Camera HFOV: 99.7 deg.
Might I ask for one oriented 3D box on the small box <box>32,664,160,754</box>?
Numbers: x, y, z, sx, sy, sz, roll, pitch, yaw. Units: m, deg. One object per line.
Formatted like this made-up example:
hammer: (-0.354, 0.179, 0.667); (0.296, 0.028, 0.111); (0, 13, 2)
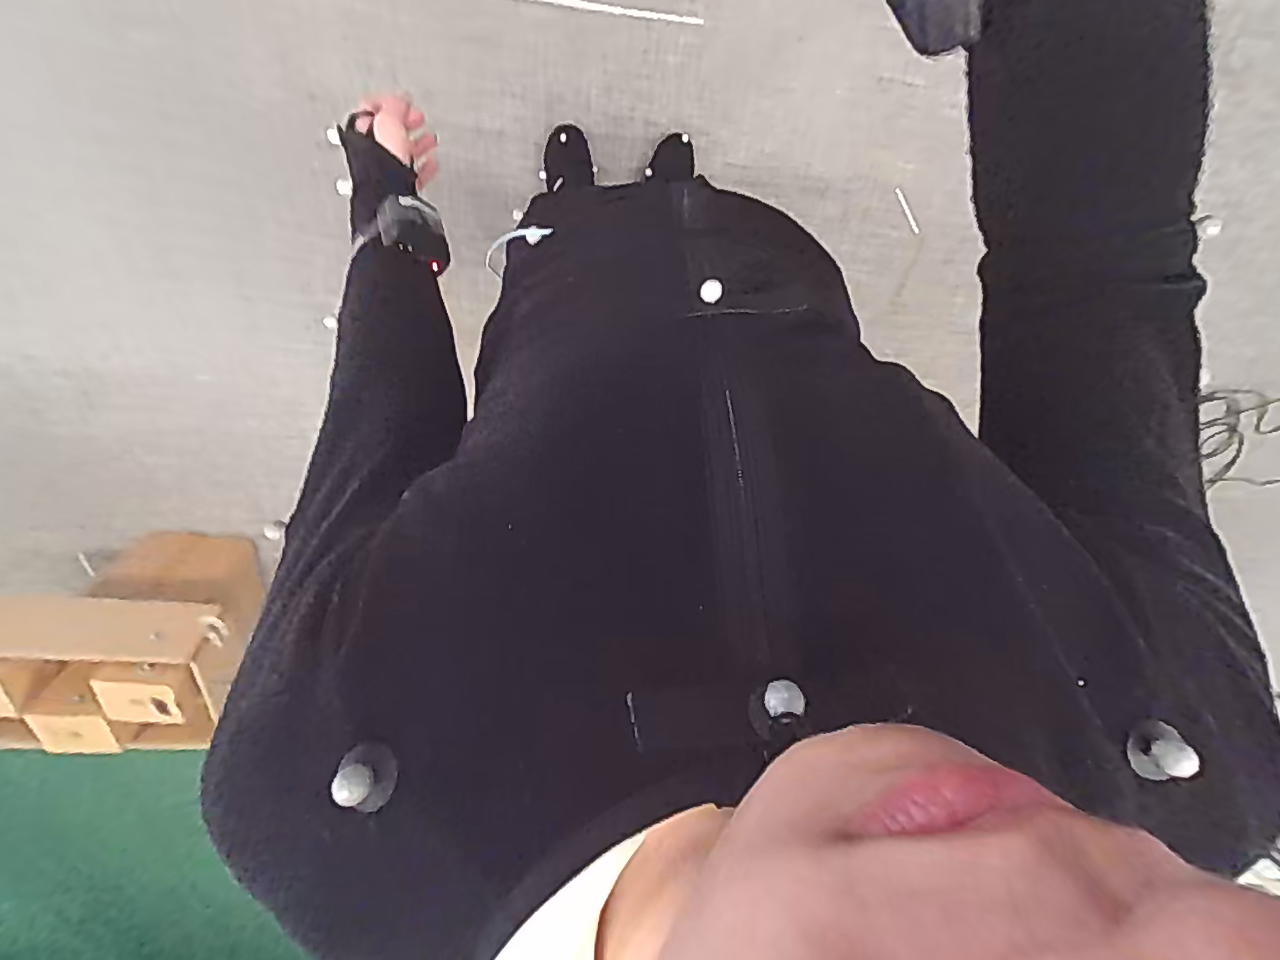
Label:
small box: (-1.475, 0.628, 1.487); (0.179, 0.176, 0.168); (6, 122, -11)
